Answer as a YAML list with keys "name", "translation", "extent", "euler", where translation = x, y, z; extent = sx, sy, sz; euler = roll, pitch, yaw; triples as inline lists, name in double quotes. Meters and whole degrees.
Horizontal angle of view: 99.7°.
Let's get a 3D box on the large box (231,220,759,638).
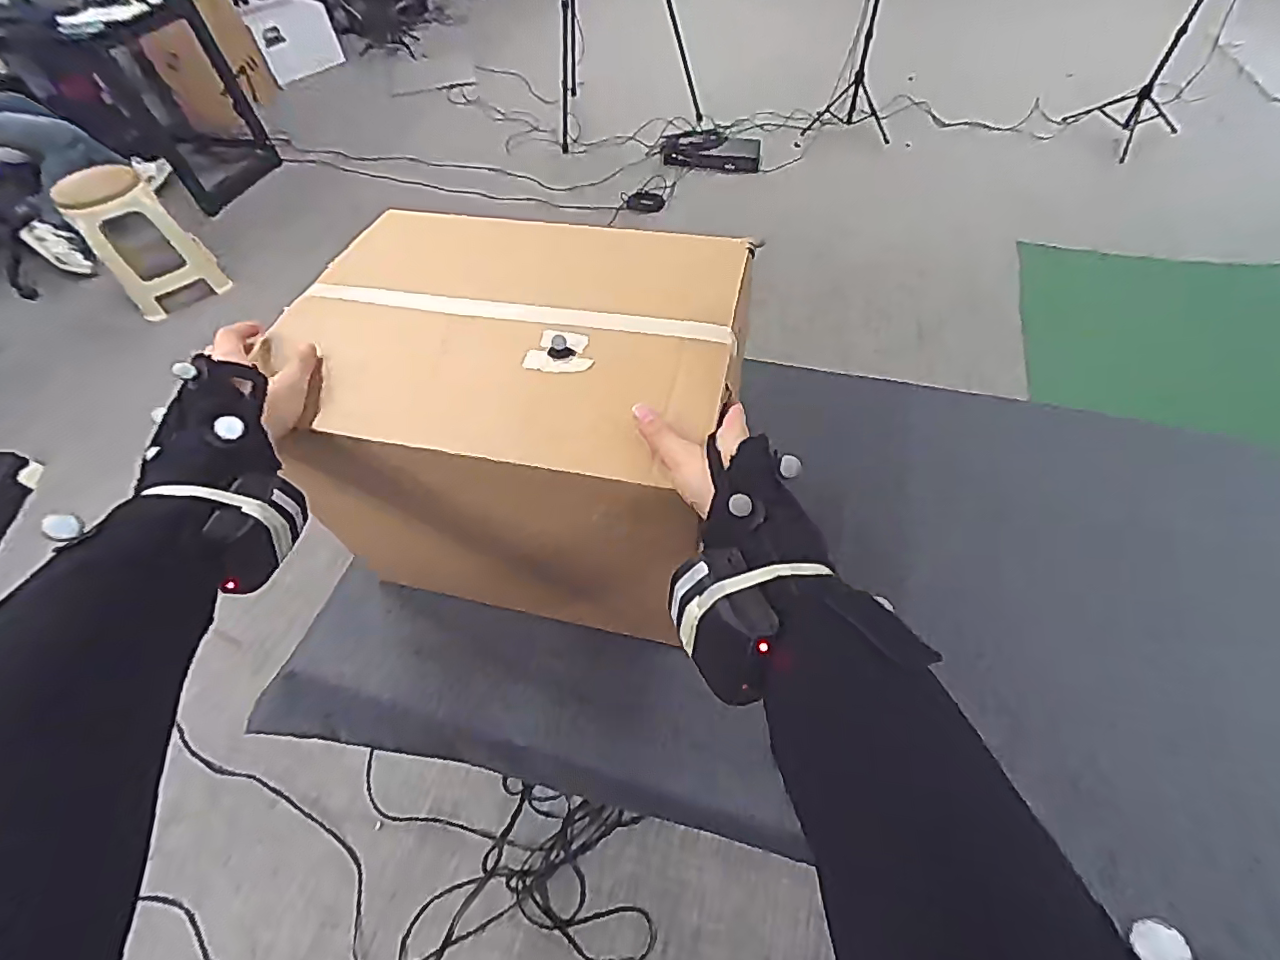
- name: "large box"
  translation: [-0.103, -0.054, 0.609]
  extent: [0.408, 0.320, 0.320]
  euler: [10, 55, 9]
